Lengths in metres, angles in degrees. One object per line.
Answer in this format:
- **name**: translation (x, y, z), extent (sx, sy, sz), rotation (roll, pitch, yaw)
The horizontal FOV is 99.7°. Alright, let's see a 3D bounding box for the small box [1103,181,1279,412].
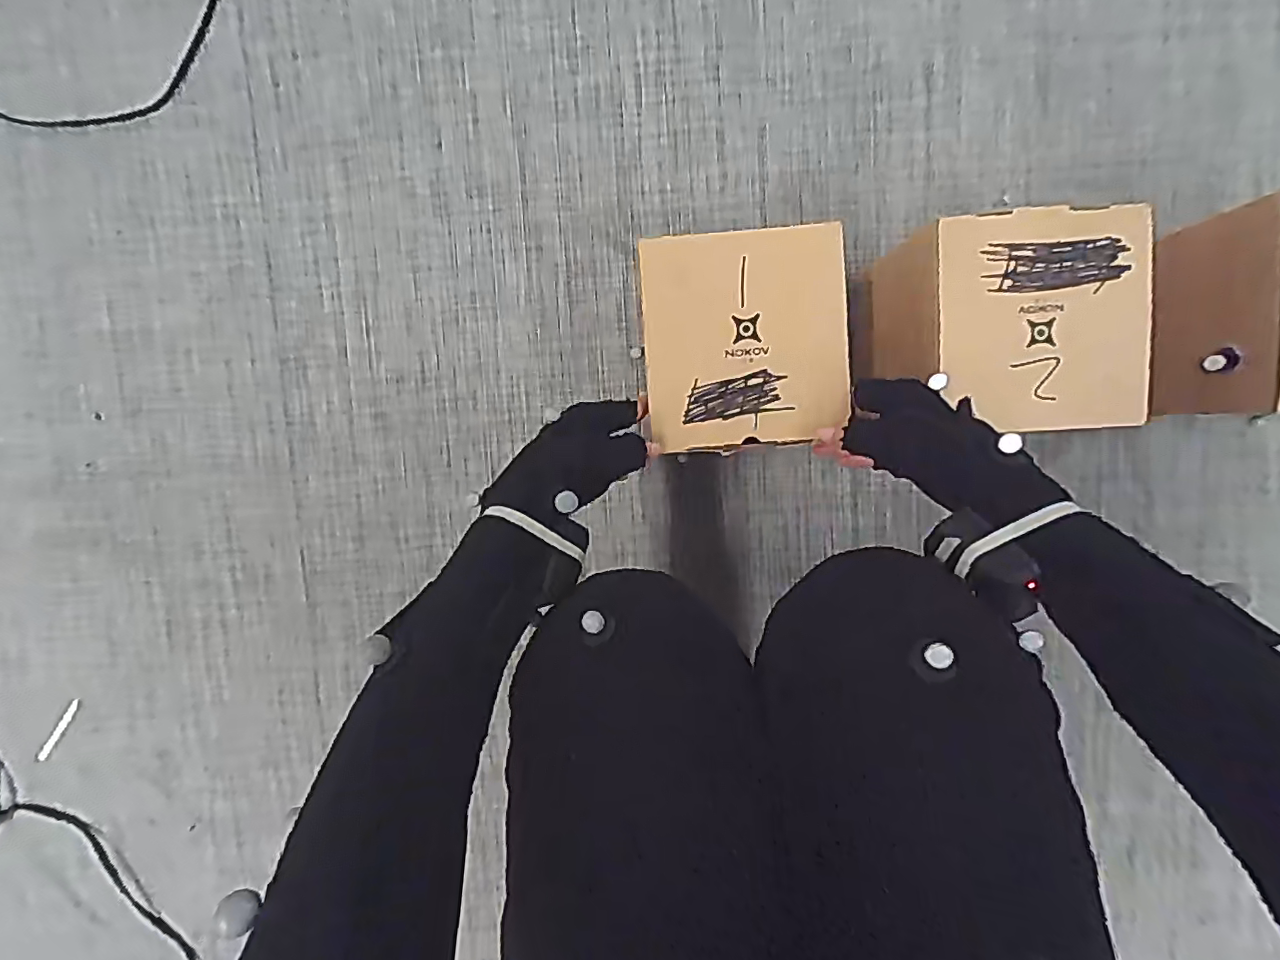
- **small box**: translation (0.573, -0.153, 0.497), extent (0.168, 0.176, 0.179), rotation (-3, 94, 2)

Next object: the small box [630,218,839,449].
- **small box**: translation (0.082, -0.124, 0.518), extent (0.168, 0.176, 0.179), rotation (-4, 94, 3)
